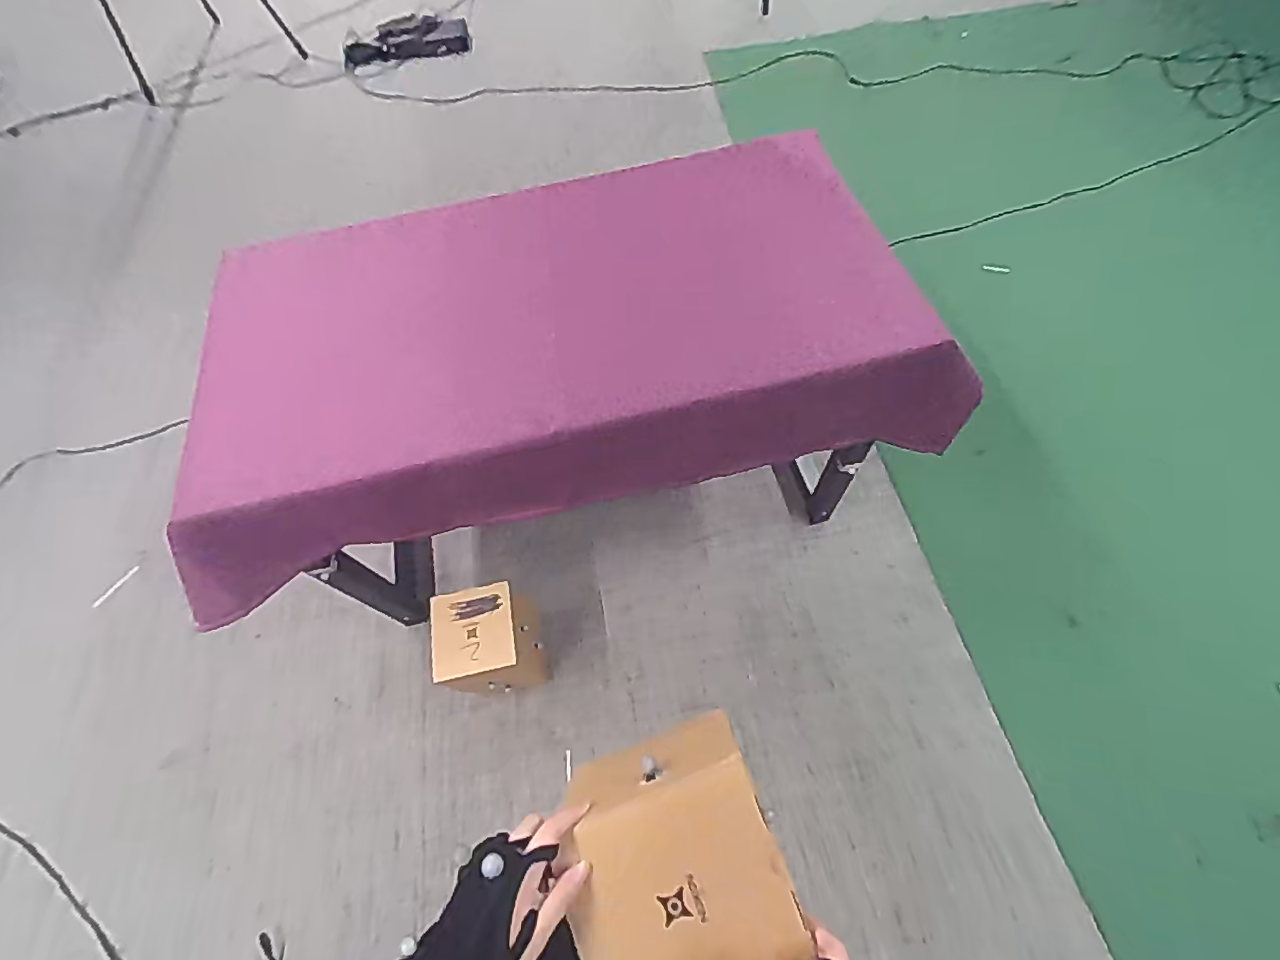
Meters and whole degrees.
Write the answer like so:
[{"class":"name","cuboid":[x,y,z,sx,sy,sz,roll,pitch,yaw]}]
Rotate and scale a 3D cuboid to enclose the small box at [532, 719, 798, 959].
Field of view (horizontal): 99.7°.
[{"class":"small box","cuboid":[0.020,0.352,0.512,0.179,0.176,0.168,-21,78,-3]}]
